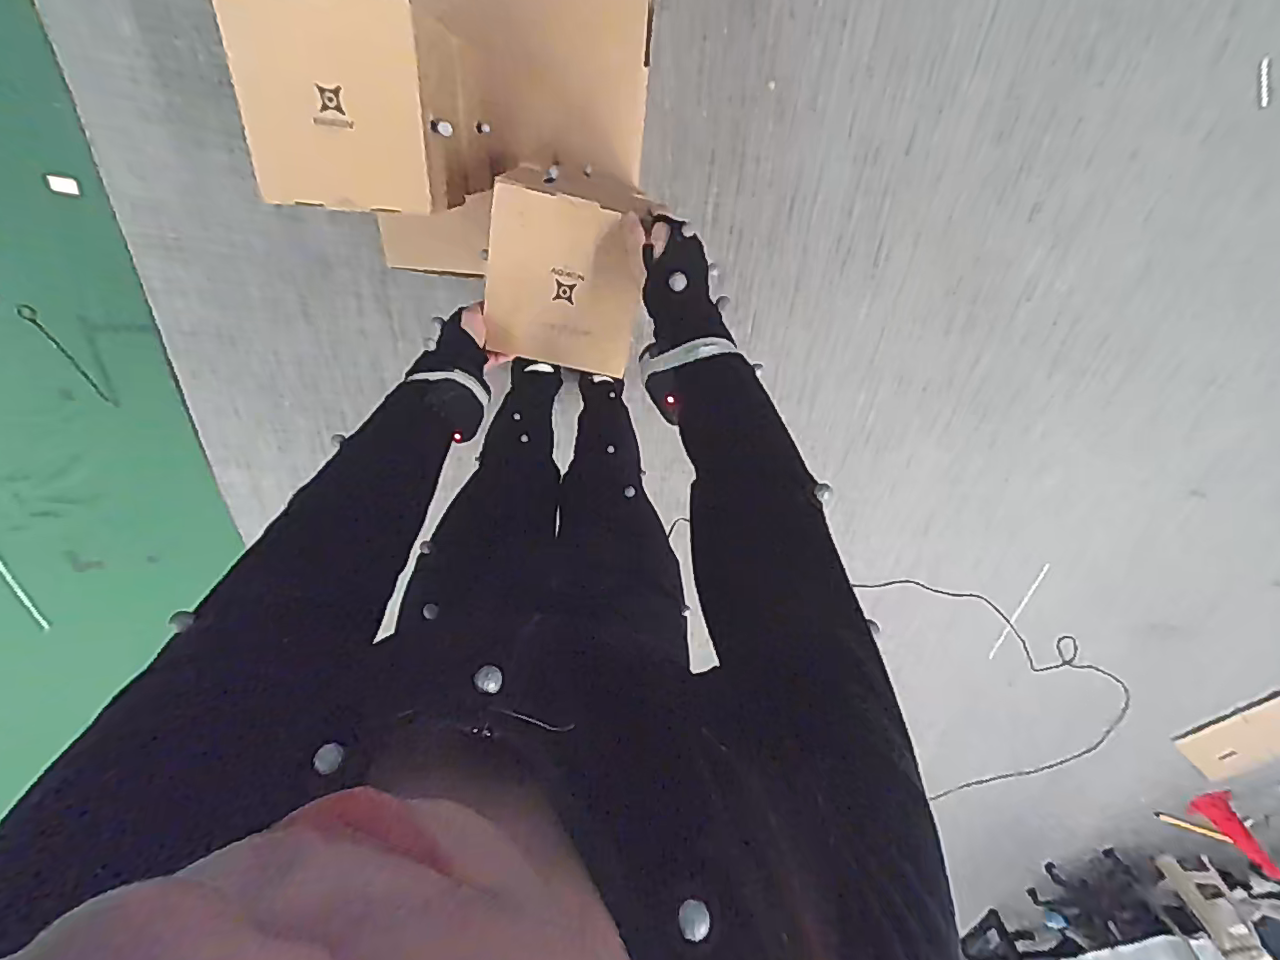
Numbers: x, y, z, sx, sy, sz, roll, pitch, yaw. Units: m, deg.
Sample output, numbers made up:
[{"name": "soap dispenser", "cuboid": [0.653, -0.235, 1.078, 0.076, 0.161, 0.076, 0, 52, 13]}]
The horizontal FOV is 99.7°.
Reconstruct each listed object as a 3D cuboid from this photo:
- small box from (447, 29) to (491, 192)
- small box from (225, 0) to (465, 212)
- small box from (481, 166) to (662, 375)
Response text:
[{"name": "small box", "cuboid": [-0.296, -0.482, 0.709, 0.179, 0.176, 0.168, 1, 121, -5]}, {"name": "small box", "cuboid": [-0.288, -0.396, 0.571, 0.168, 0.176, 0.179, 3, 122, -6]}, {"name": "small box", "cuboid": [-0.079, -0.252, 0.637, 0.168, 0.176, 0.179, 12, 123, -8]}]
